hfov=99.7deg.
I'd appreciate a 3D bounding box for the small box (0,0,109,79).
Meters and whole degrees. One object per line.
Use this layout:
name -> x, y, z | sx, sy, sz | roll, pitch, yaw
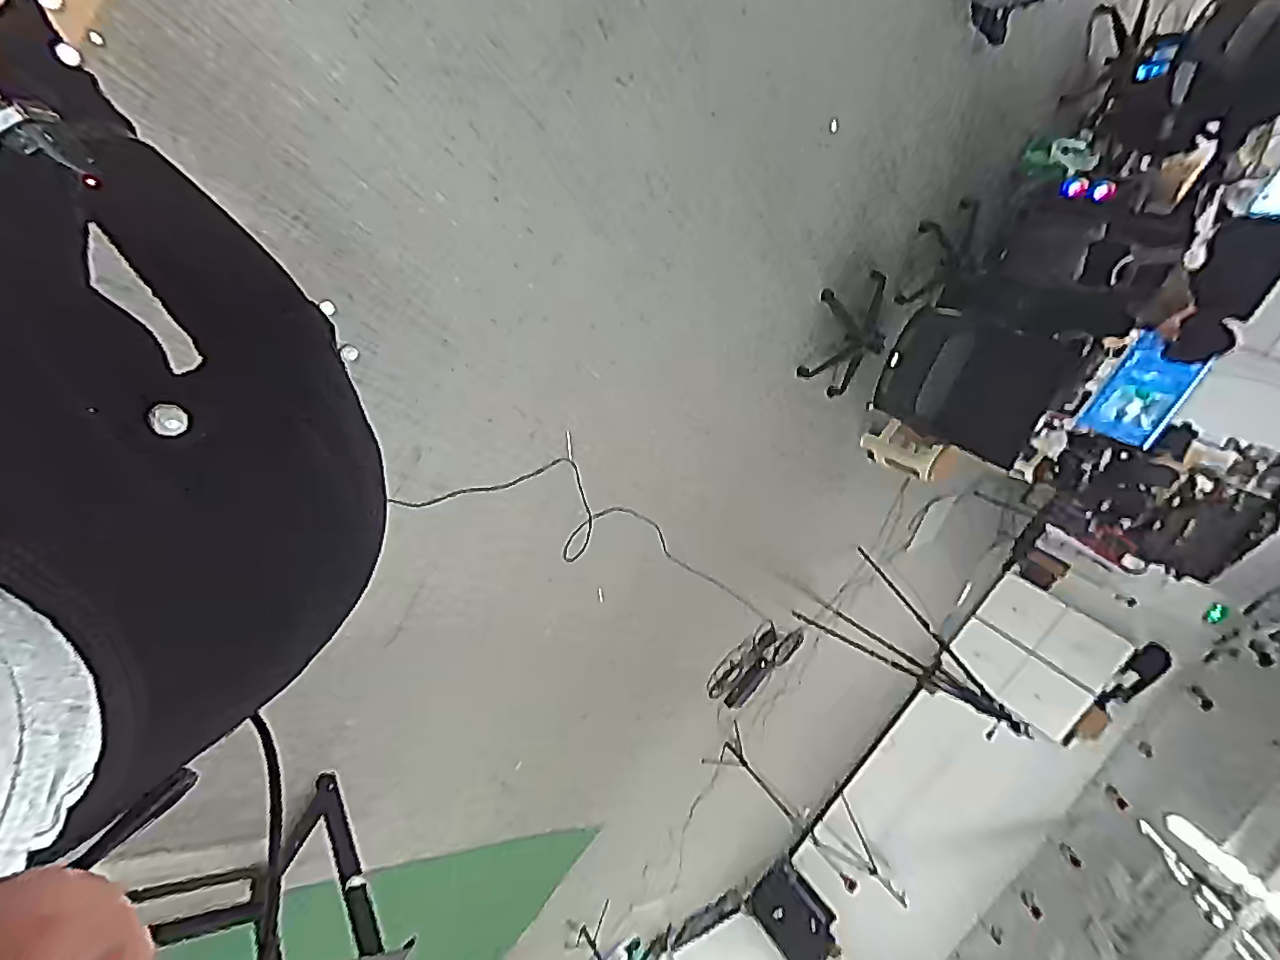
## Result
small box -> -0.940, -0.748, 0.813 | 0.168, 0.176, 0.179 | 28, 100, -49
